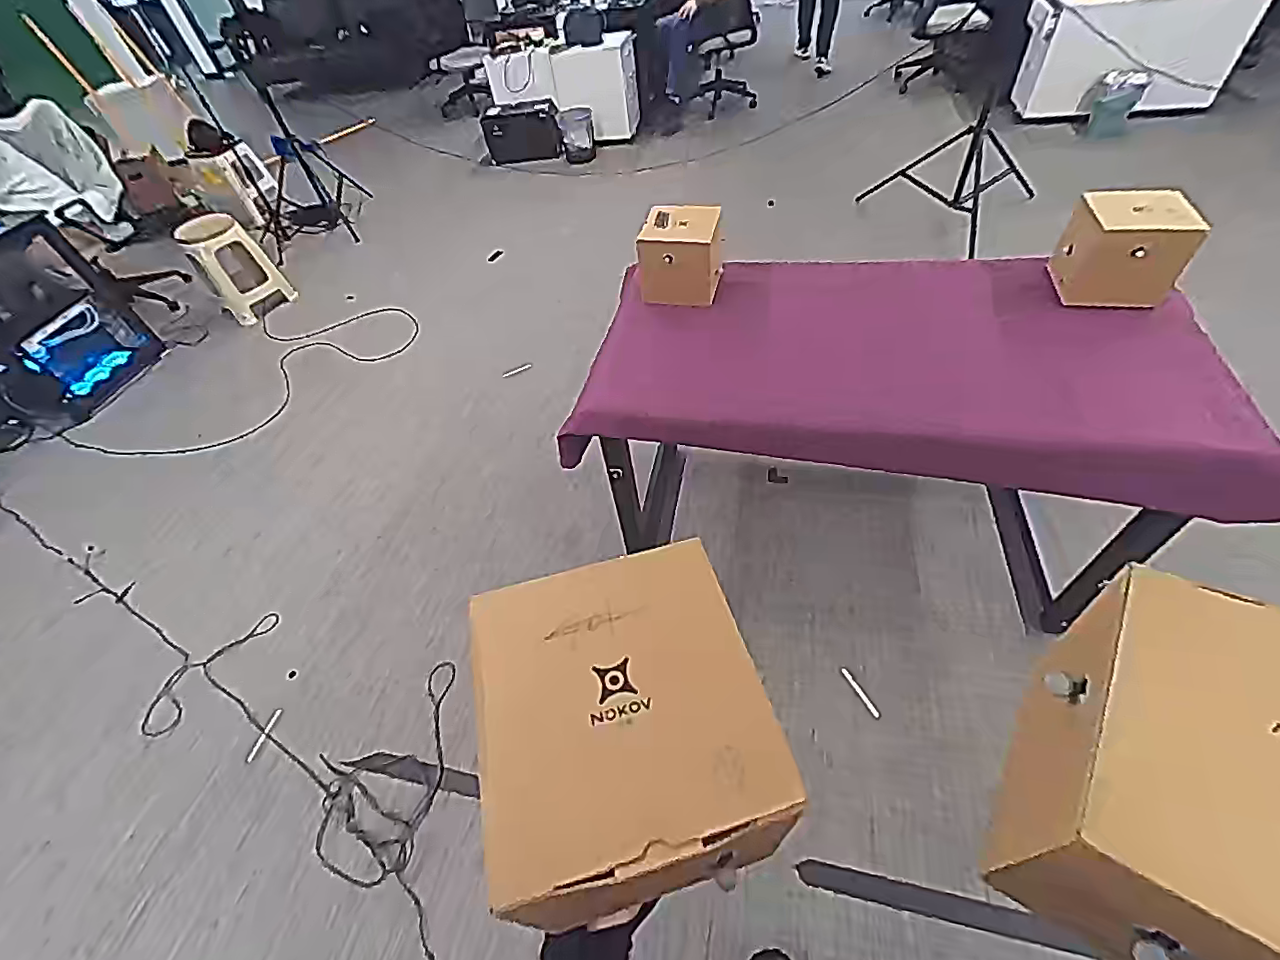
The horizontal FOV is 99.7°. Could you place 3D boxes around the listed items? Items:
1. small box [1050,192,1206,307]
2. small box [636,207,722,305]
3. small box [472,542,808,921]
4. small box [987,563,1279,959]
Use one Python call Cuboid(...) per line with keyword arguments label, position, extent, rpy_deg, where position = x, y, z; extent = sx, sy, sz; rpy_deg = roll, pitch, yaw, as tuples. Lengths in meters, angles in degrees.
Cuboid(label="small box", position=(1.002, -0.481, 1.136), extent=(0.179, 0.176, 0.168), rpy_deg=(6, 52, 13))
Cuboid(label="small box", position=(0.101, -0.548, 1.328), extent=(0.179, 0.176, 0.168), rpy_deg=(8, 54, 13))
Cuboid(label="small box", position=(-0.008, 0.177, 0.377), extent=(0.168, 0.176, 0.179), rpy_deg=(-14, 48, -9))
Cuboid(label="small box", position=(0.329, 0.188, 0.313), extent=(0.168, 0.176, 0.179), rpy_deg=(23, 57, 29))
